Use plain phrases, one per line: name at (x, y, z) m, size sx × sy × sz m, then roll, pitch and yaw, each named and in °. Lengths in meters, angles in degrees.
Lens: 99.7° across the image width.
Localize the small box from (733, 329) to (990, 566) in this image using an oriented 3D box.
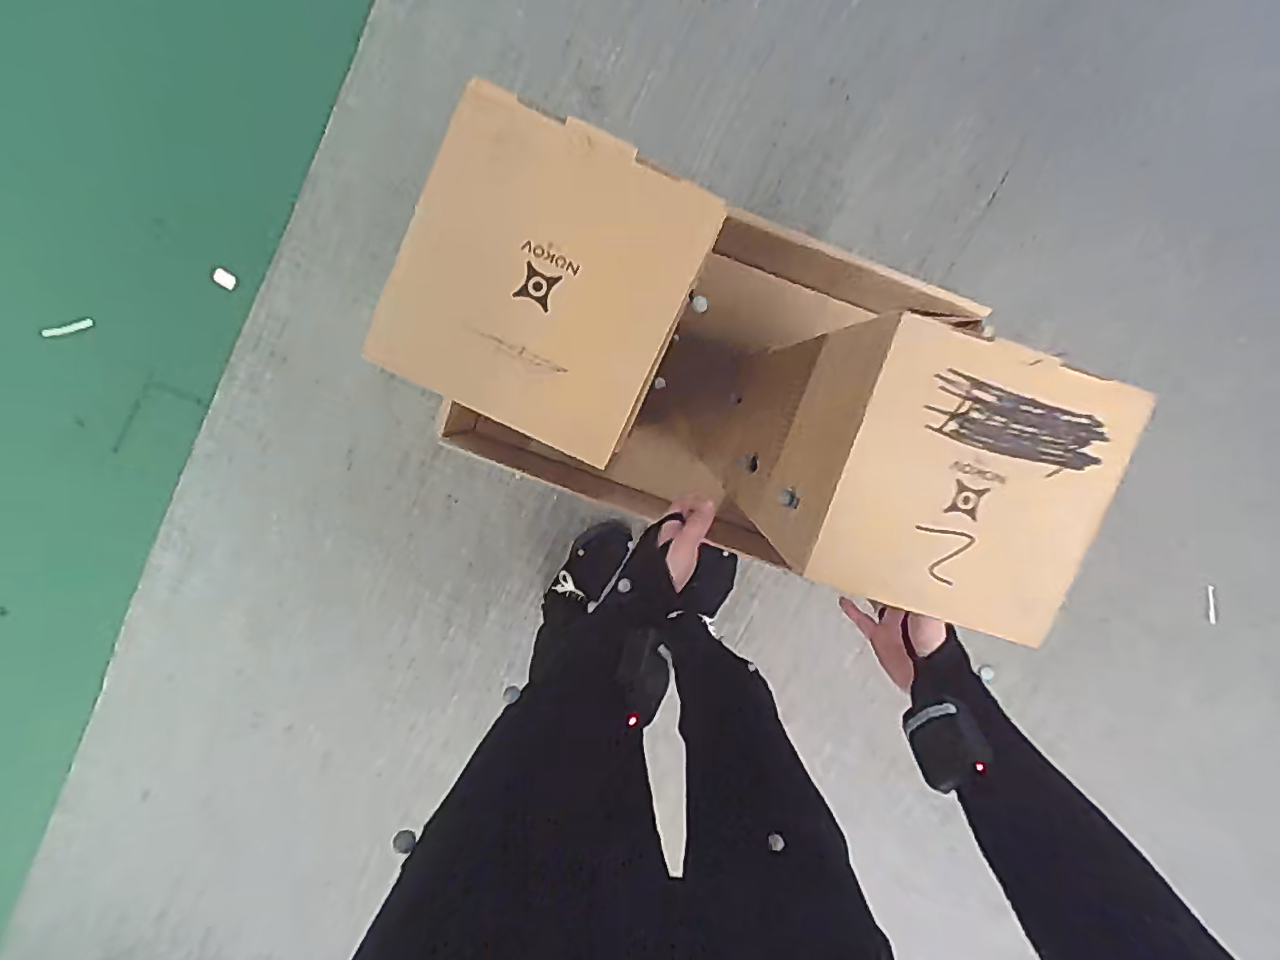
small box at (0.206, -0.038, 0.563) m, size 0.168 × 0.176 × 0.179 m, roll 18°, pitch 98°, yaw -4°

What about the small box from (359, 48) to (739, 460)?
small box at (-0.054, -0.134, 0.386) m, size 0.168 × 0.176 × 0.179 m, roll 26°, pitch 98°, yaw -3°
